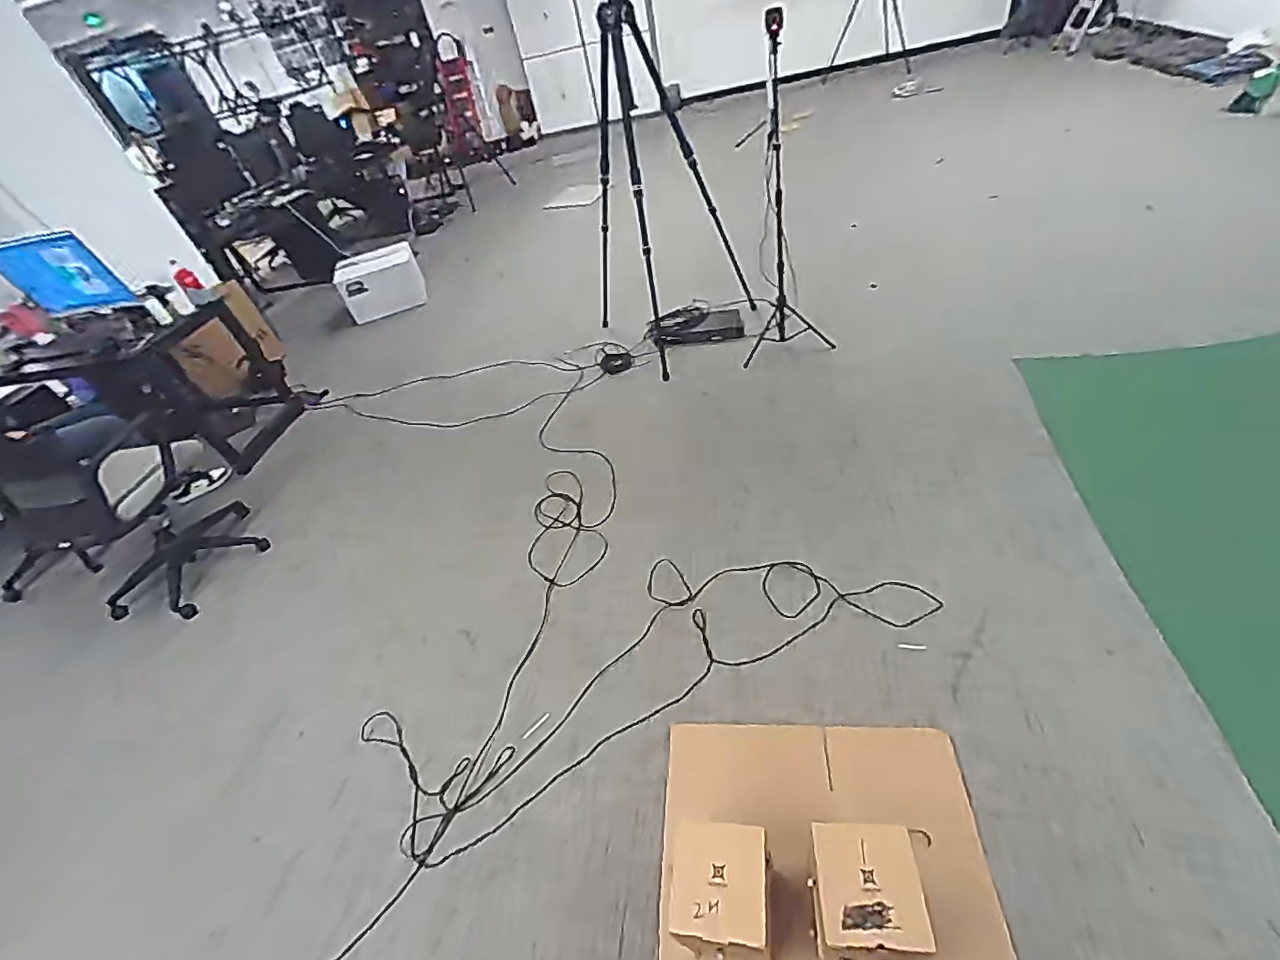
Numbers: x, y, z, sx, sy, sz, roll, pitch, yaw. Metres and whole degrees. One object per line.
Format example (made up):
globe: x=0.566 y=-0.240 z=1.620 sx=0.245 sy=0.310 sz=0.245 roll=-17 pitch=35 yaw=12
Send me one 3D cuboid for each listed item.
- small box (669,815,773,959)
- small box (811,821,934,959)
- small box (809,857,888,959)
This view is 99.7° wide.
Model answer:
small box: x=0.157 y=0.755 z=1.005 sx=0.168 sy=0.176 sz=0.179 roll=-3 pitch=44 yaw=15
small box: x=0.400 y=0.731 z=0.961 sx=0.168 sy=0.176 sz=0.179 roll=-5 pitch=43 yaw=11
small box: x=0.430 y=0.850 z=1.071 sx=0.168 sy=0.176 sz=0.179 roll=-5 pitch=44 yaw=11
